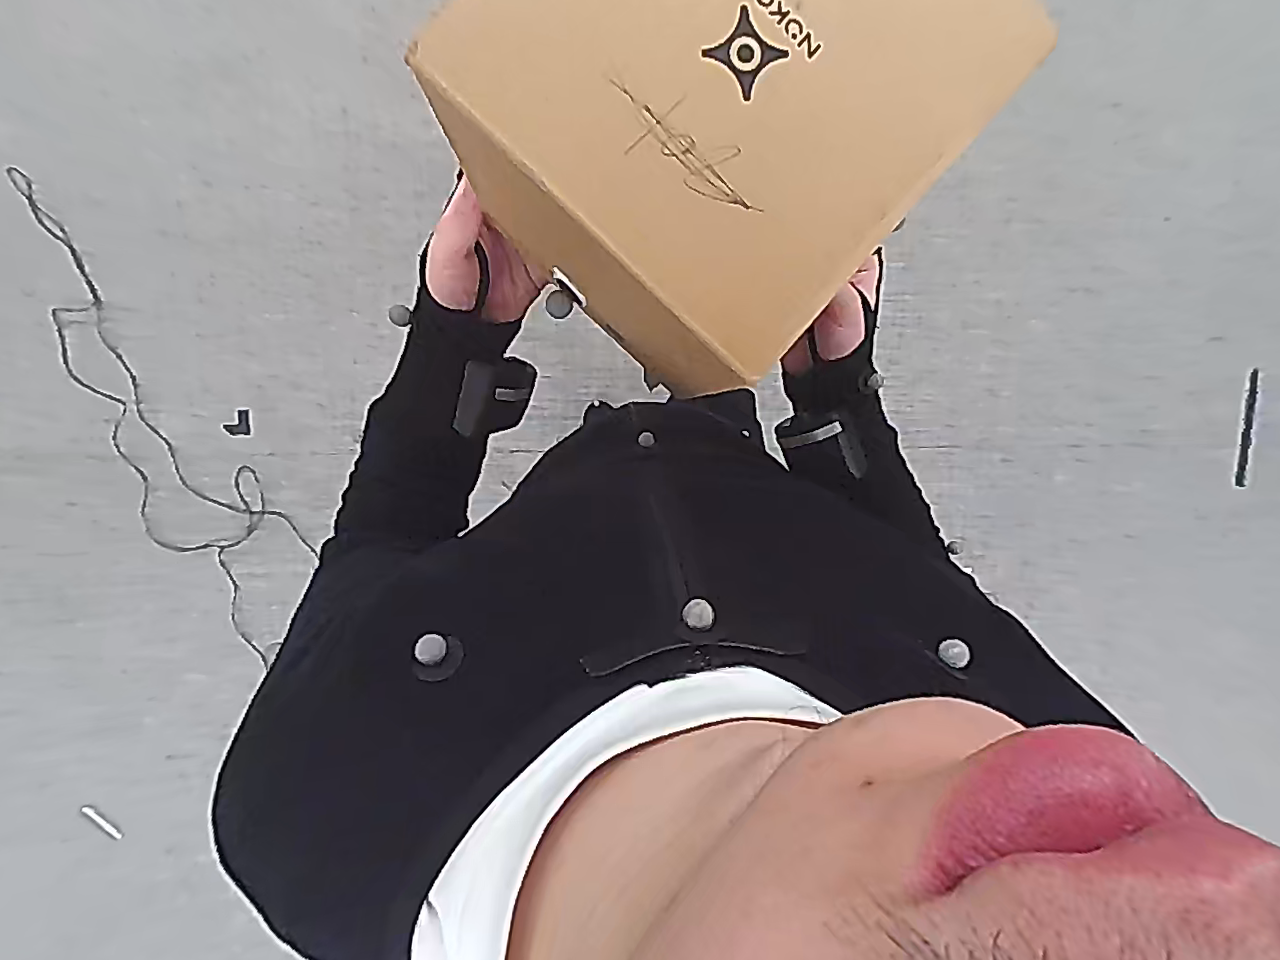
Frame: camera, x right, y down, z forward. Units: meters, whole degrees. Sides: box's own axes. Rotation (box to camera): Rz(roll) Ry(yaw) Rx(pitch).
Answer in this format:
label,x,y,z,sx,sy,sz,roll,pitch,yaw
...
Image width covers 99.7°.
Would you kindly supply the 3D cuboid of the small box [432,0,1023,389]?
label,x,y,z,sx,sy,sz,roll,pitch,yaw
small box,0.030,-0.166,0.283,0.168,0.176,0.179,41,92,-8
